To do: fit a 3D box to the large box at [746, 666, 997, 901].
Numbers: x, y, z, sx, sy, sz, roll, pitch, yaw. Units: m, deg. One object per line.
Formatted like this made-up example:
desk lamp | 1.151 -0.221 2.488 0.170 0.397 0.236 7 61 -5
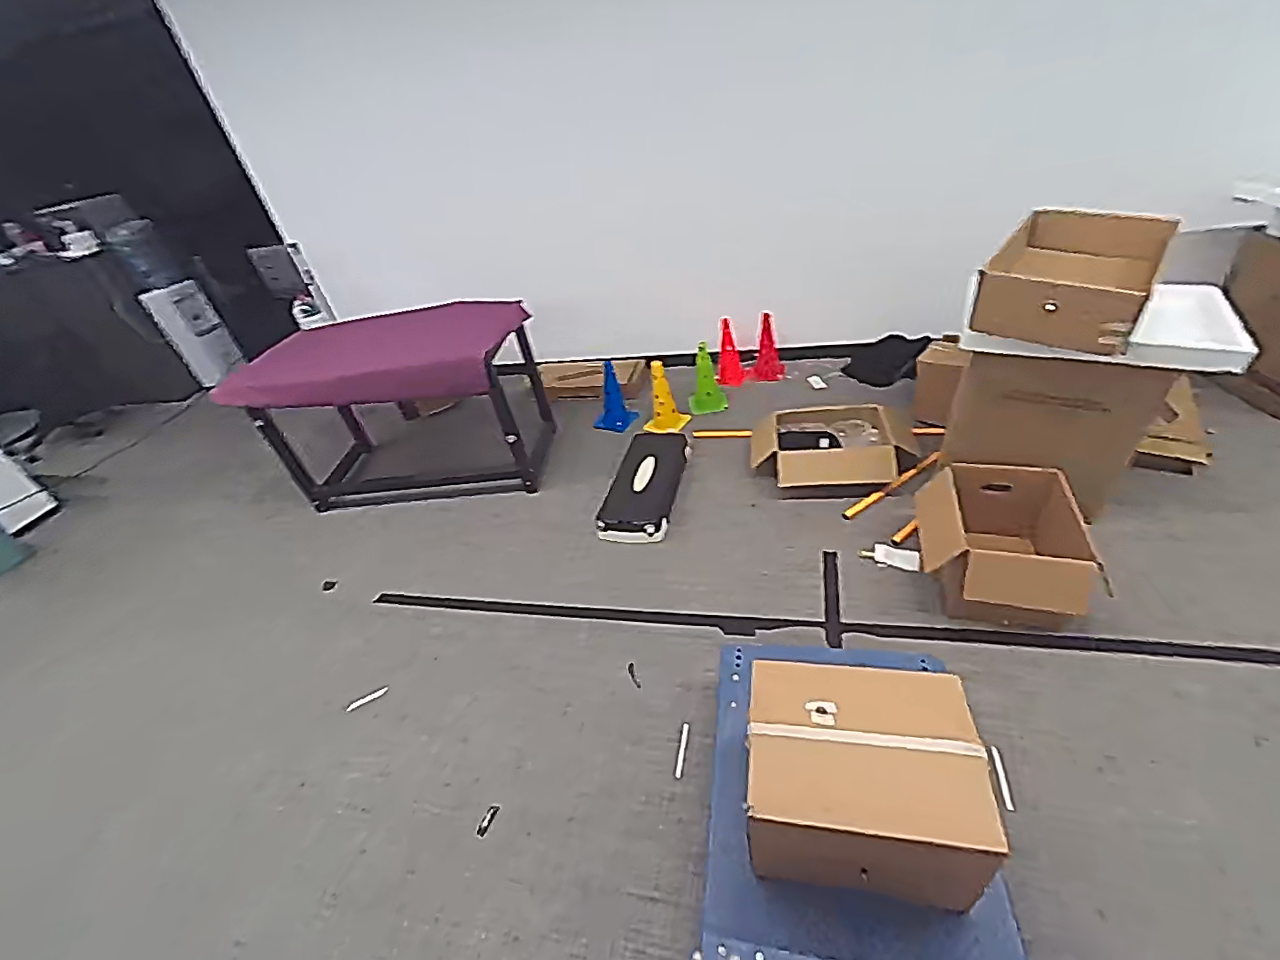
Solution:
large box | 0.437 0.613 1.114 0.408 0.320 0.320 -1 38 15
